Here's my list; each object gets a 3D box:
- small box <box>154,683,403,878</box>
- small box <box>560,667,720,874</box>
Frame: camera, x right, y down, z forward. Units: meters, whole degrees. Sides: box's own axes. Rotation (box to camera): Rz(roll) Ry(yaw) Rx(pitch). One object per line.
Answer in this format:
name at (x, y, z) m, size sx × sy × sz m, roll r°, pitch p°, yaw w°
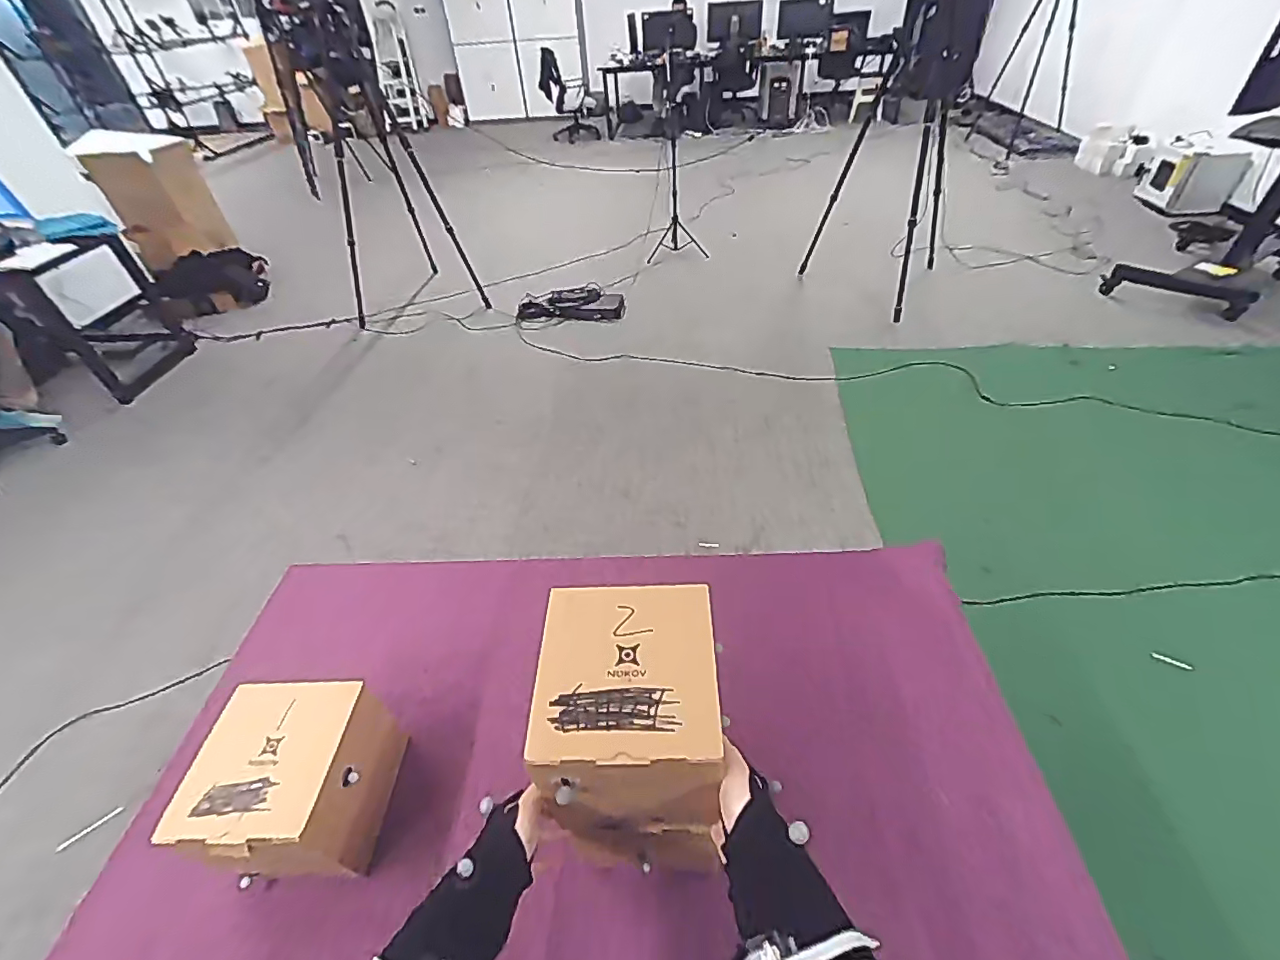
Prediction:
small box at (-0.424, 0.378, 0.677) m, size 0.168 × 0.176 × 0.179 m, roll -2°, pitch 42°, yaw 3°
small box at (0.009, 0.352, 0.660) m, size 0.168 × 0.176 × 0.179 m, roll -1°, pitch 43°, yaw 6°
